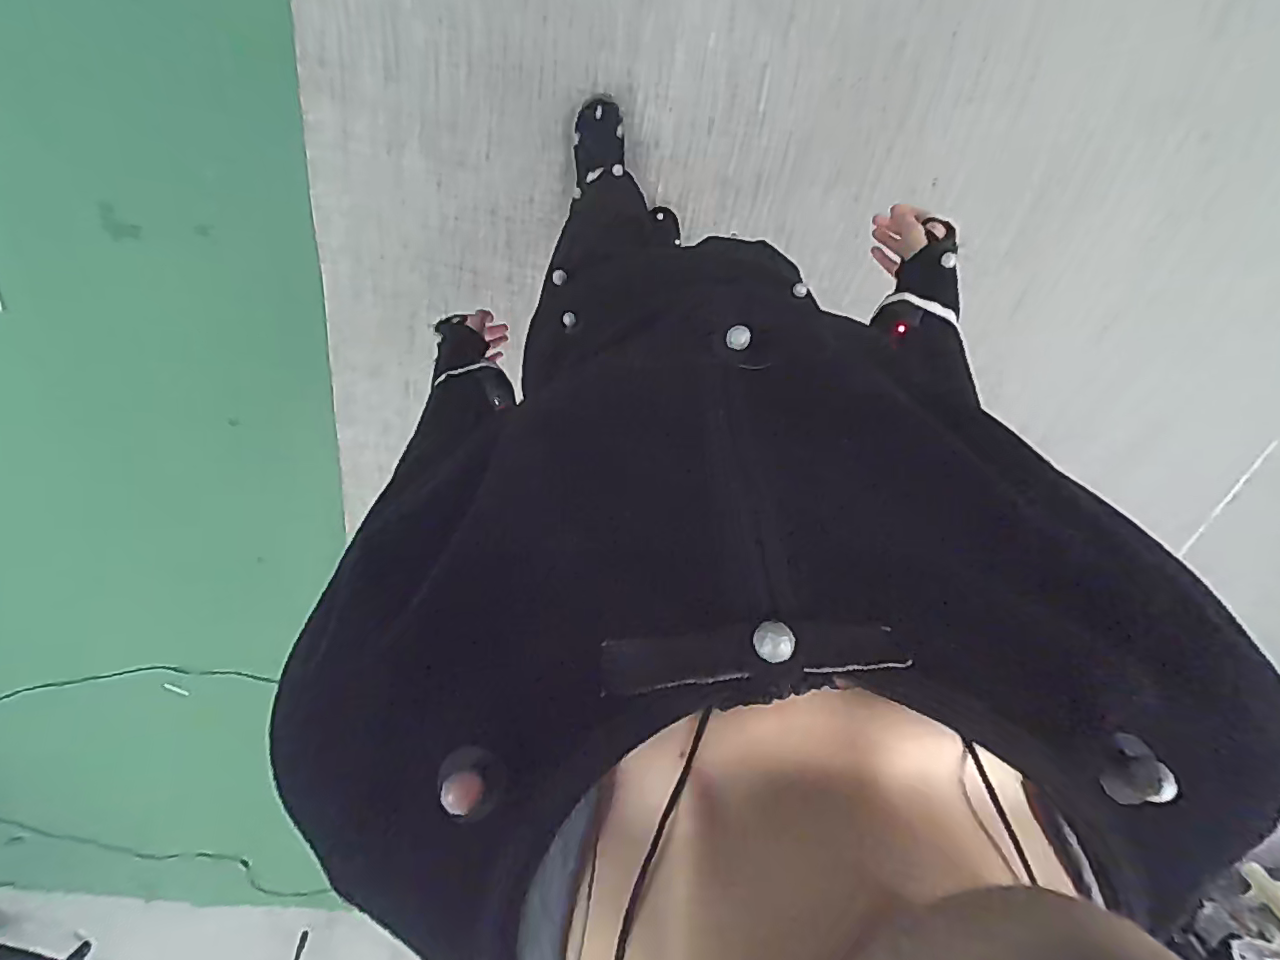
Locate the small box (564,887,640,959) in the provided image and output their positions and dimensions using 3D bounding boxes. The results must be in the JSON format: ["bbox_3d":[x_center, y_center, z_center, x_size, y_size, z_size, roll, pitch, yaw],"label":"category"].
[{"bbox_3d":[-0.101,1.179,1.387,0.168,0.176,0.179,11,120,-8],"label":"small box"}]
